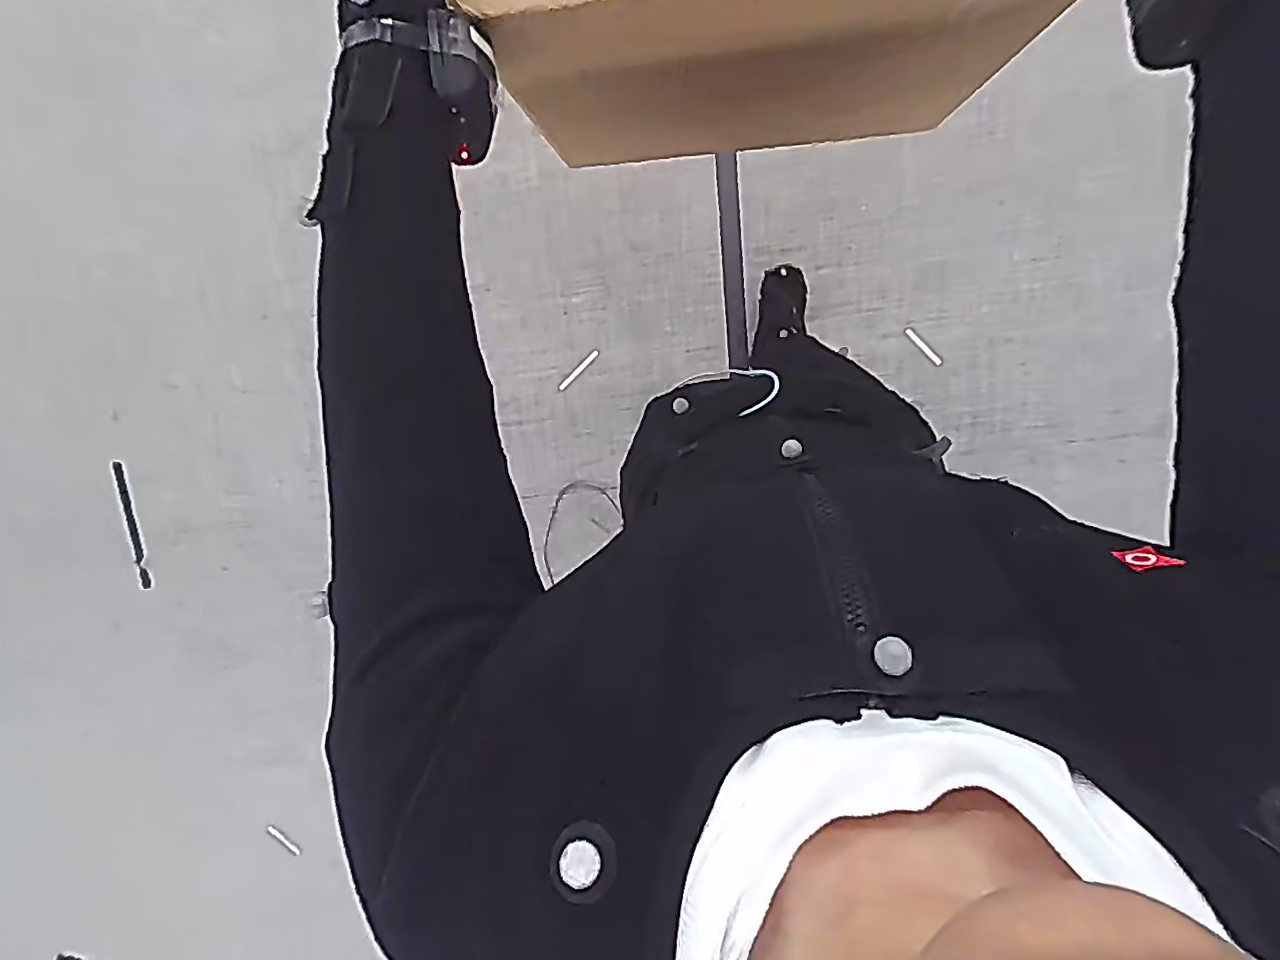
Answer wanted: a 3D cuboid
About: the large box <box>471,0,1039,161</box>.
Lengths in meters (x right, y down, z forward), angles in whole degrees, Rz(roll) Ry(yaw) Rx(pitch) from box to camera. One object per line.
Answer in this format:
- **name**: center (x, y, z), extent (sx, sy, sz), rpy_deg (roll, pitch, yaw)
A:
- **large box**: center (0.088, -0.490, 0.426), extent (0.408, 0.320, 0.320), rpy_deg (-3, 105, 6)
